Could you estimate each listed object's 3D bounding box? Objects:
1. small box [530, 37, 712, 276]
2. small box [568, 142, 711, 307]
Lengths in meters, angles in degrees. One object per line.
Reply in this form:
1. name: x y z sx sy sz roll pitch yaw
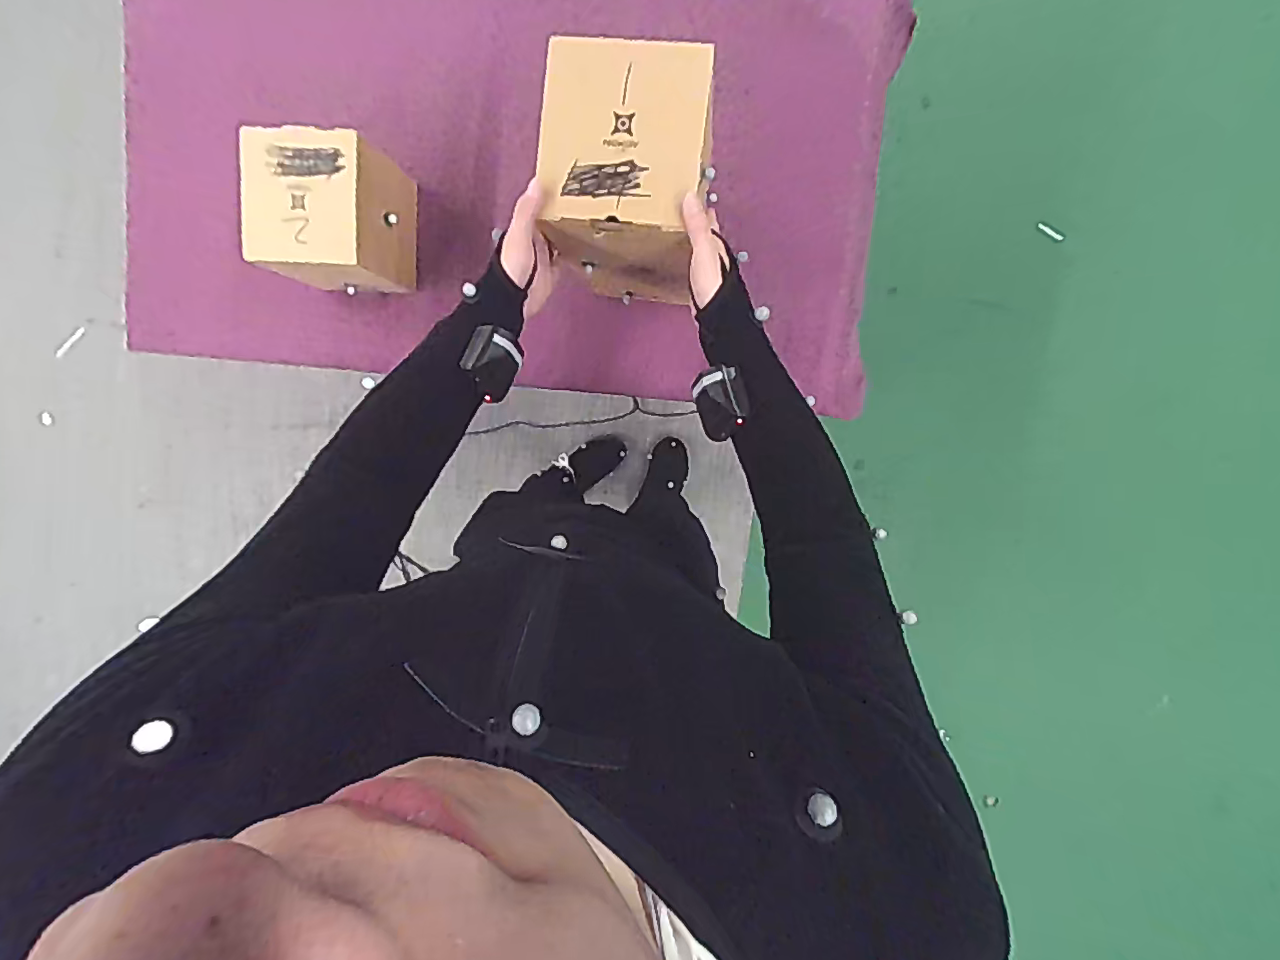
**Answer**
1. small box: -0.012 -0.344 0.608 0.168 0.176 0.179 8 95 5
2. small box: 0.005 -0.362 0.769 0.168 0.176 0.179 8 96 5
